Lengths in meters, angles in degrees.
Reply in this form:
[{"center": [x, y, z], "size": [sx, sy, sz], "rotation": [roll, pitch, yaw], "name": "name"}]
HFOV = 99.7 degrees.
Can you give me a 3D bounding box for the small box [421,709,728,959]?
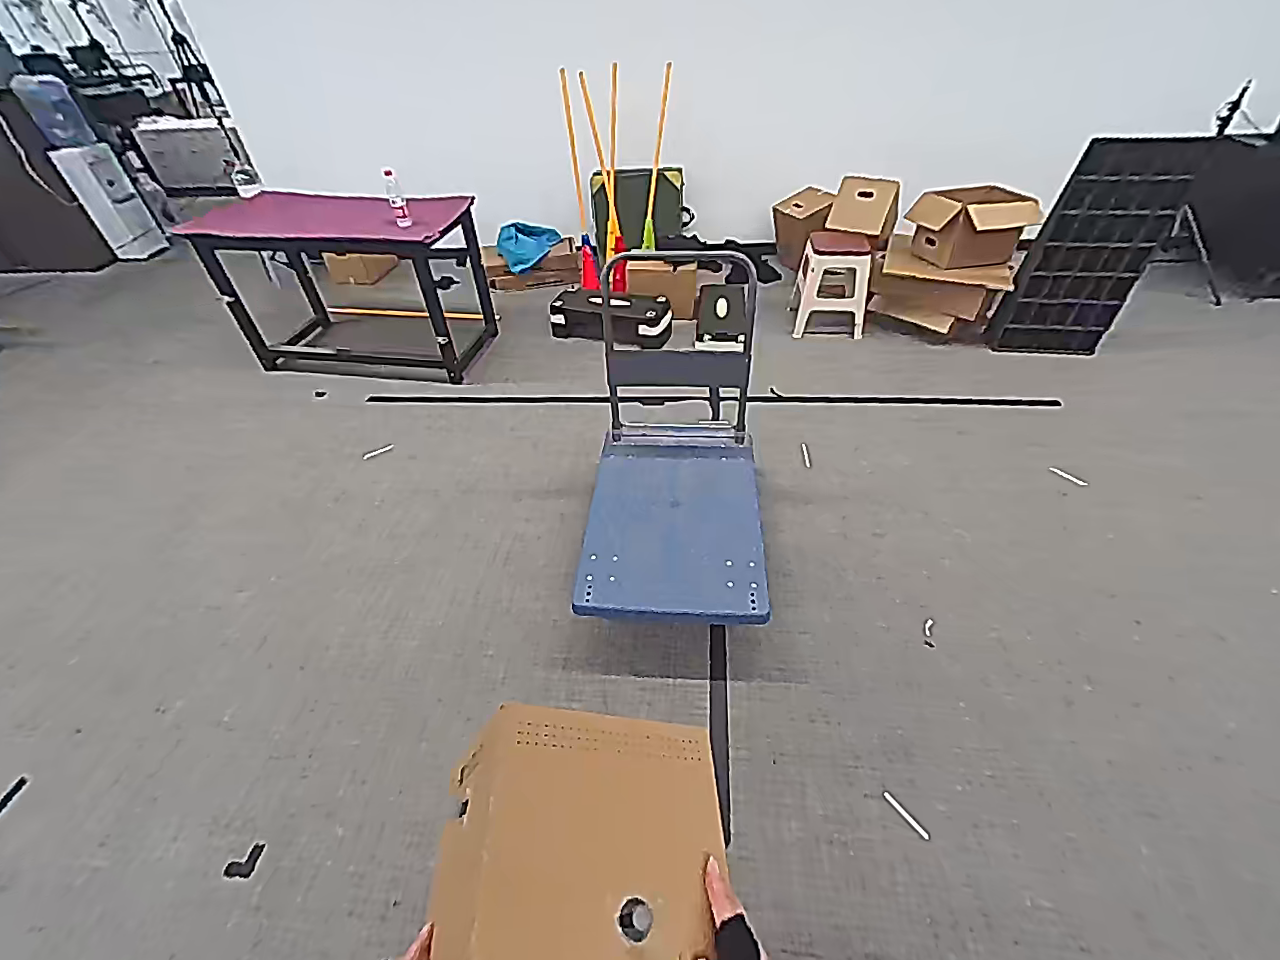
[{"center": [-0.052, 0.293, 0.415], "size": [0.179, 0.168, 0.176], "rotation": [17, 42, -21], "name": "small box"}]
